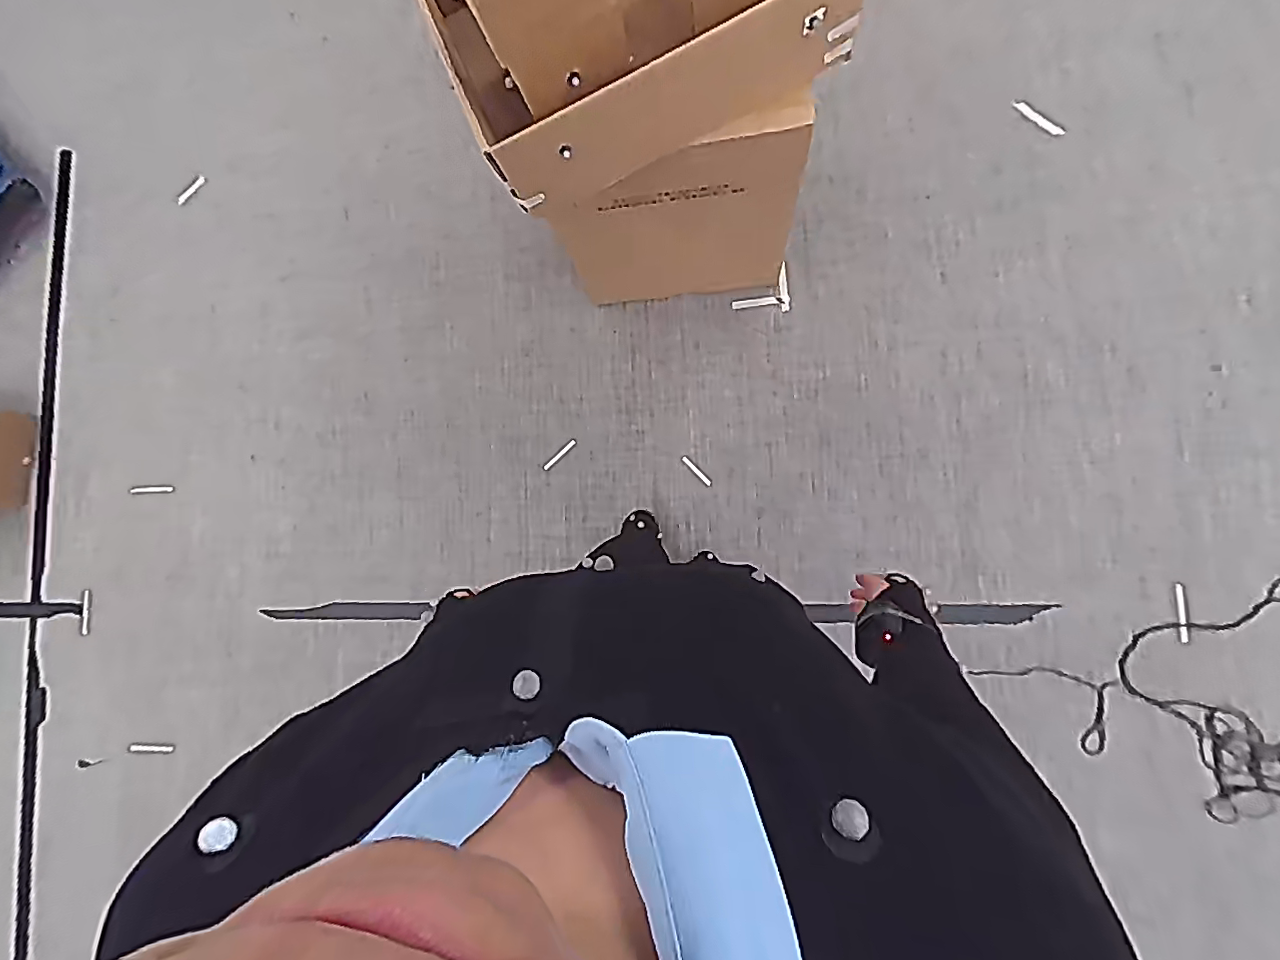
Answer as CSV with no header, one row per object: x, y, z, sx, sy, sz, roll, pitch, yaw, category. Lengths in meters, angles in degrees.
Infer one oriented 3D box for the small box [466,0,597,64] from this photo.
-0.163,-0.696,0.685,0.179,0.176,0.168,-28,83,5,small box
